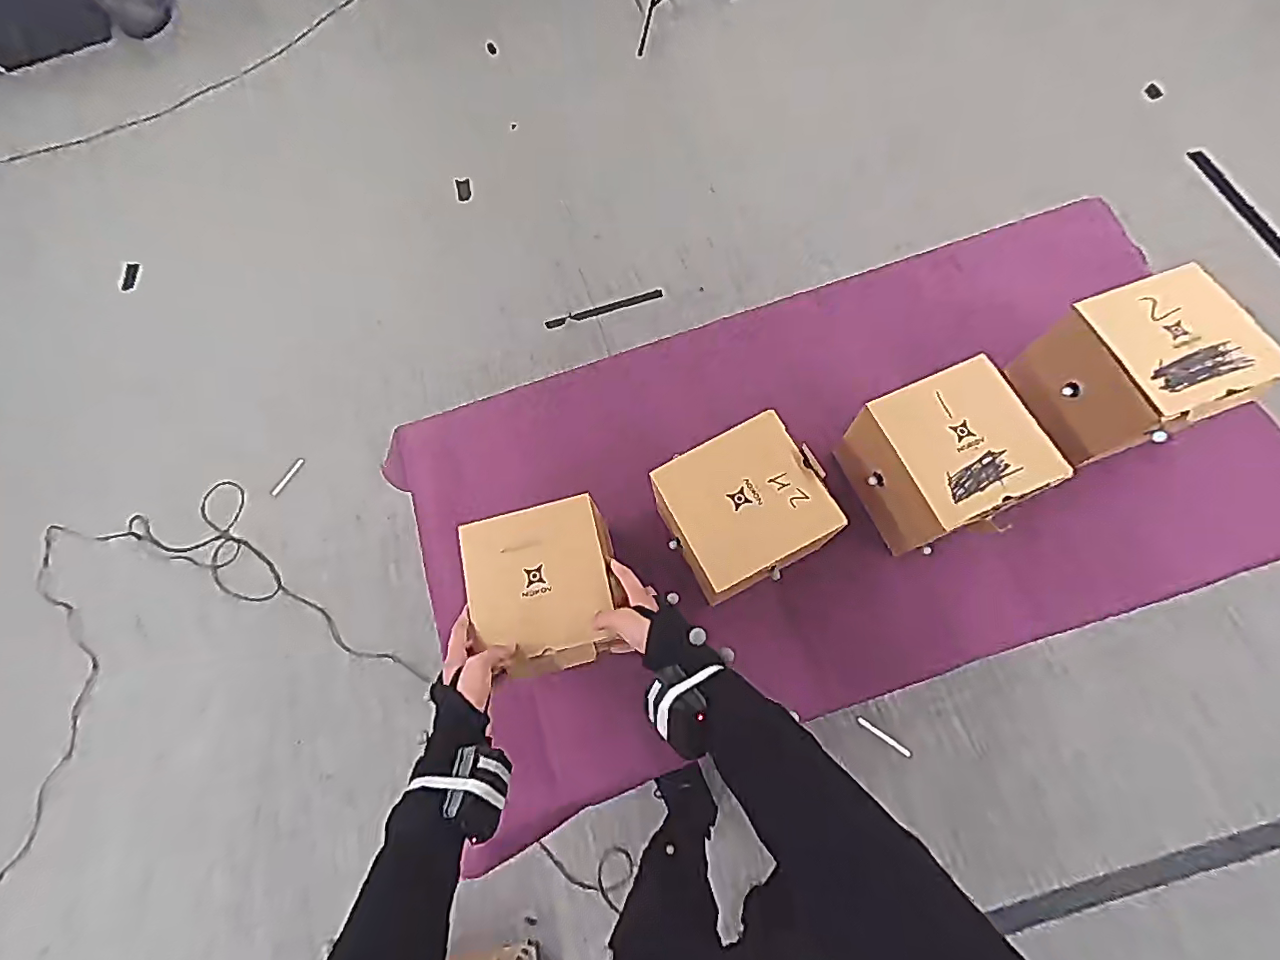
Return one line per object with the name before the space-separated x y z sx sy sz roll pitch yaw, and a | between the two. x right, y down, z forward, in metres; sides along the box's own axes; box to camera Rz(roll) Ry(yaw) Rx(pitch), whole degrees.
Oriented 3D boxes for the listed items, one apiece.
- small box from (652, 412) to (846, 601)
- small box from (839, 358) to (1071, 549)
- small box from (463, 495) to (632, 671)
small box | 0.133 0.045 0.710 0.179 0.176 0.168 -27 72 -4
small box | 0.390 -0.022 0.708 0.168 0.176 0.179 -23 70 -2
small box | -0.111 0.139 0.702 0.168 0.176 0.179 -14 71 0
